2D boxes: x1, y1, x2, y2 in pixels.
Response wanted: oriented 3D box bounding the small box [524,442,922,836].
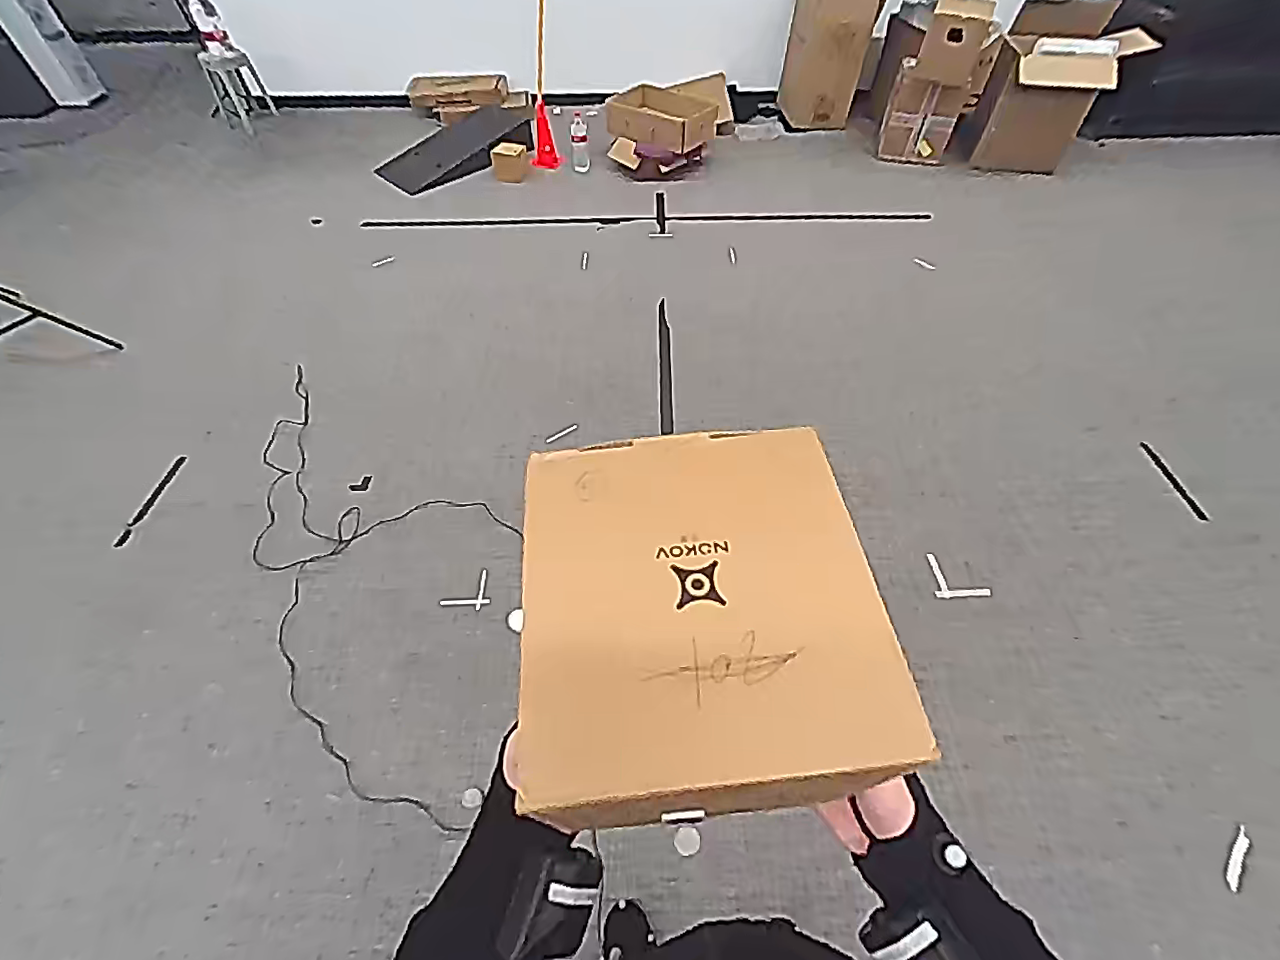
[{"bbox_3d":[0.028,0.101,0.331,0.168,0.176,0.179,-7,55,-2],"label":"small box"}]
